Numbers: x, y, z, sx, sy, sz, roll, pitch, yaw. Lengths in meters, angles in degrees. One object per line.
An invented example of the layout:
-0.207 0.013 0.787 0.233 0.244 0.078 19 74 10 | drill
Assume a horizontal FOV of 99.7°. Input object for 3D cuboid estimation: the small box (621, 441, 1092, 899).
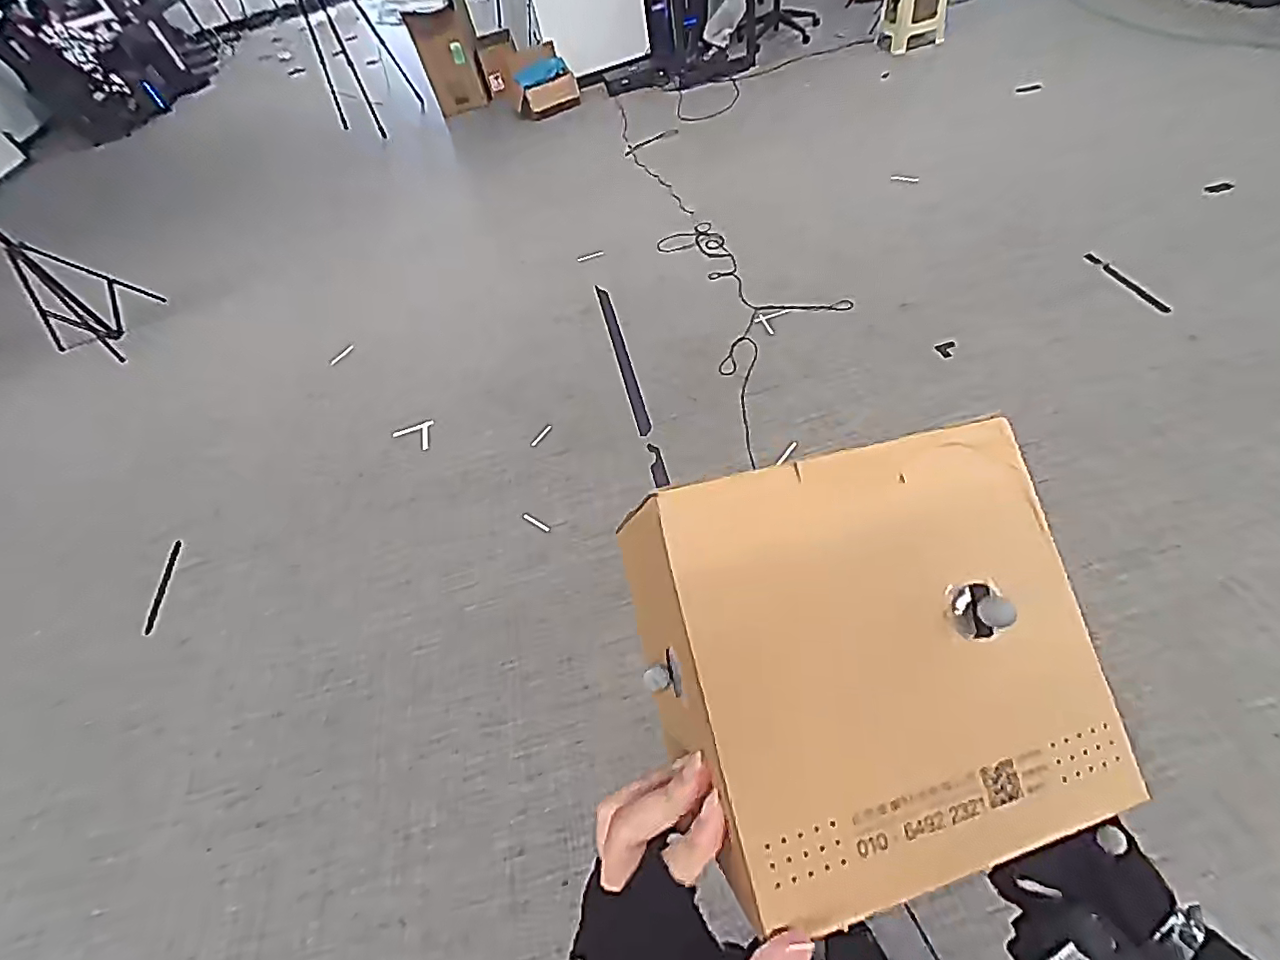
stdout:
0.093 0.094 0.308 0.168 0.179 0.176 -13 80 -9 | small box
